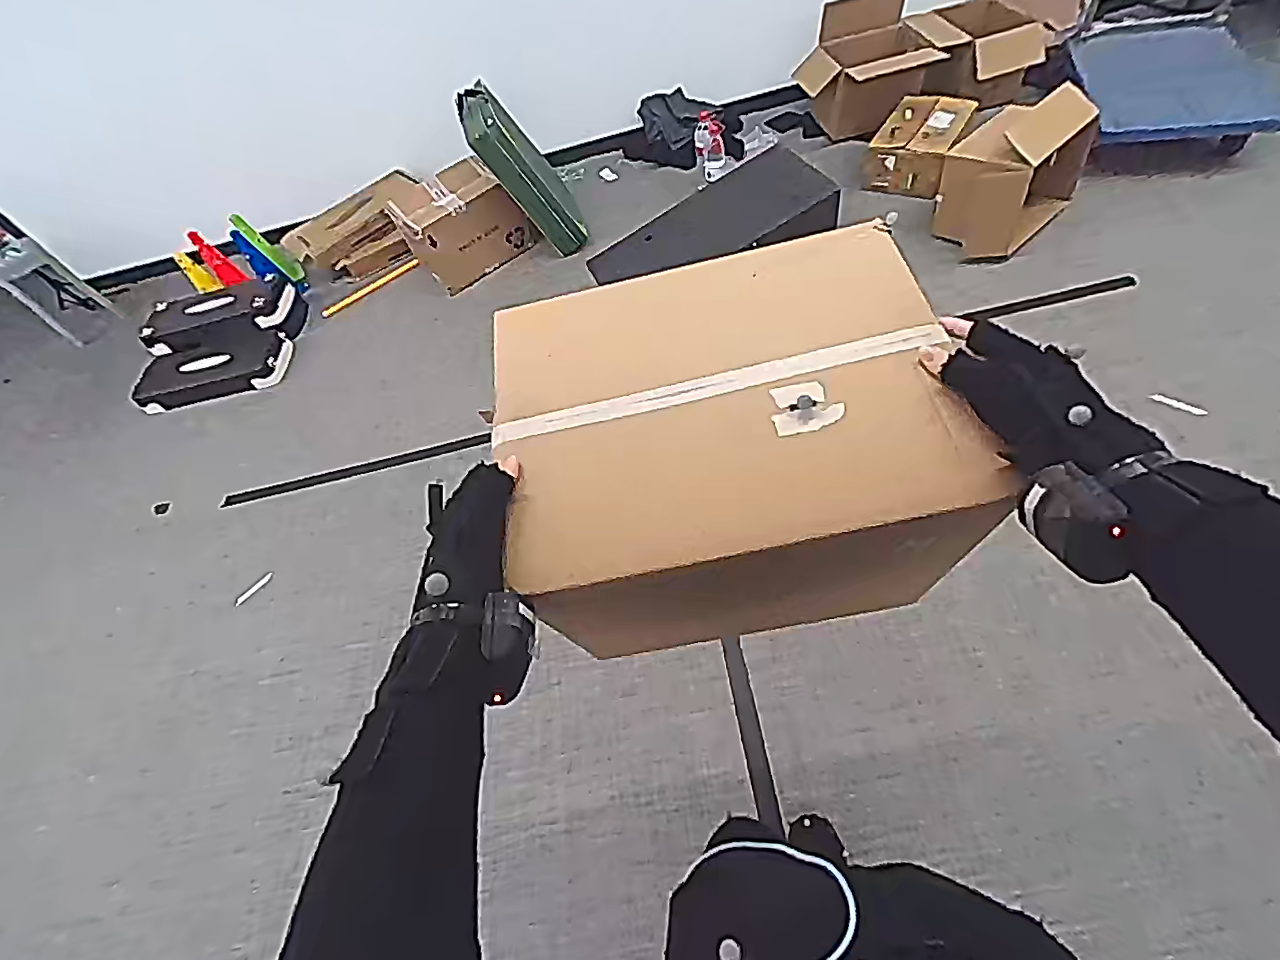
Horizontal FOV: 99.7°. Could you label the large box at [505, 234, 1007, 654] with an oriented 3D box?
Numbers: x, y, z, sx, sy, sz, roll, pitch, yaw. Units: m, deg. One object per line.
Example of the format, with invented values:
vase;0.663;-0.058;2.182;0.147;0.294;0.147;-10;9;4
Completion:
large box;0.092;-0.014;0.630;0.408;0.320;0.320;-12;62;3
